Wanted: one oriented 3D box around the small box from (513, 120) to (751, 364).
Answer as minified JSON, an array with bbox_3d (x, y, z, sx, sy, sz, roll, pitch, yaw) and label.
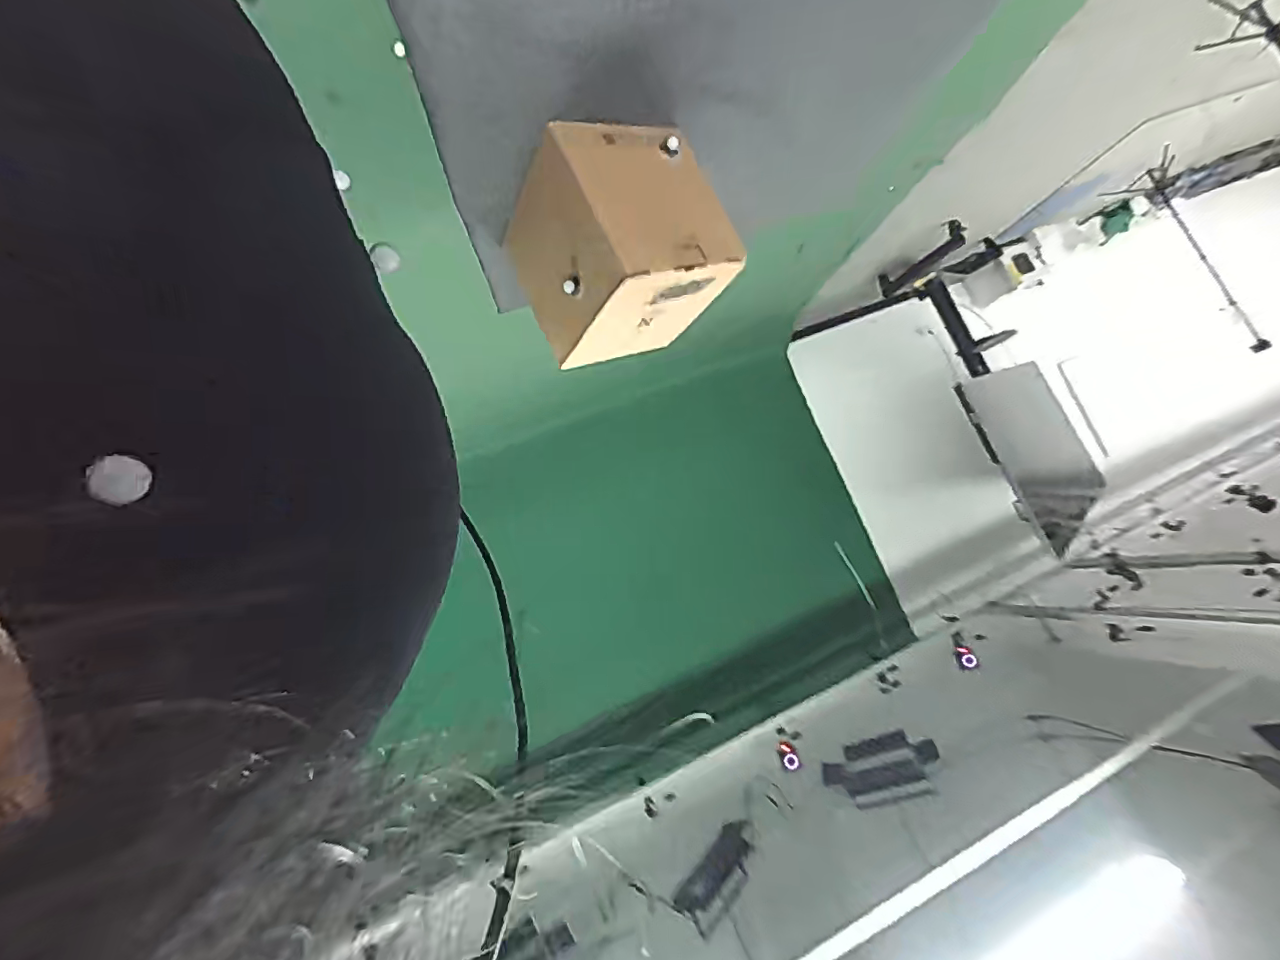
[{"bbox_3d":[-0.019,-0.256,0.593,0.168,0.176,0.179,-21,173,-33],"label":"small box"}]
